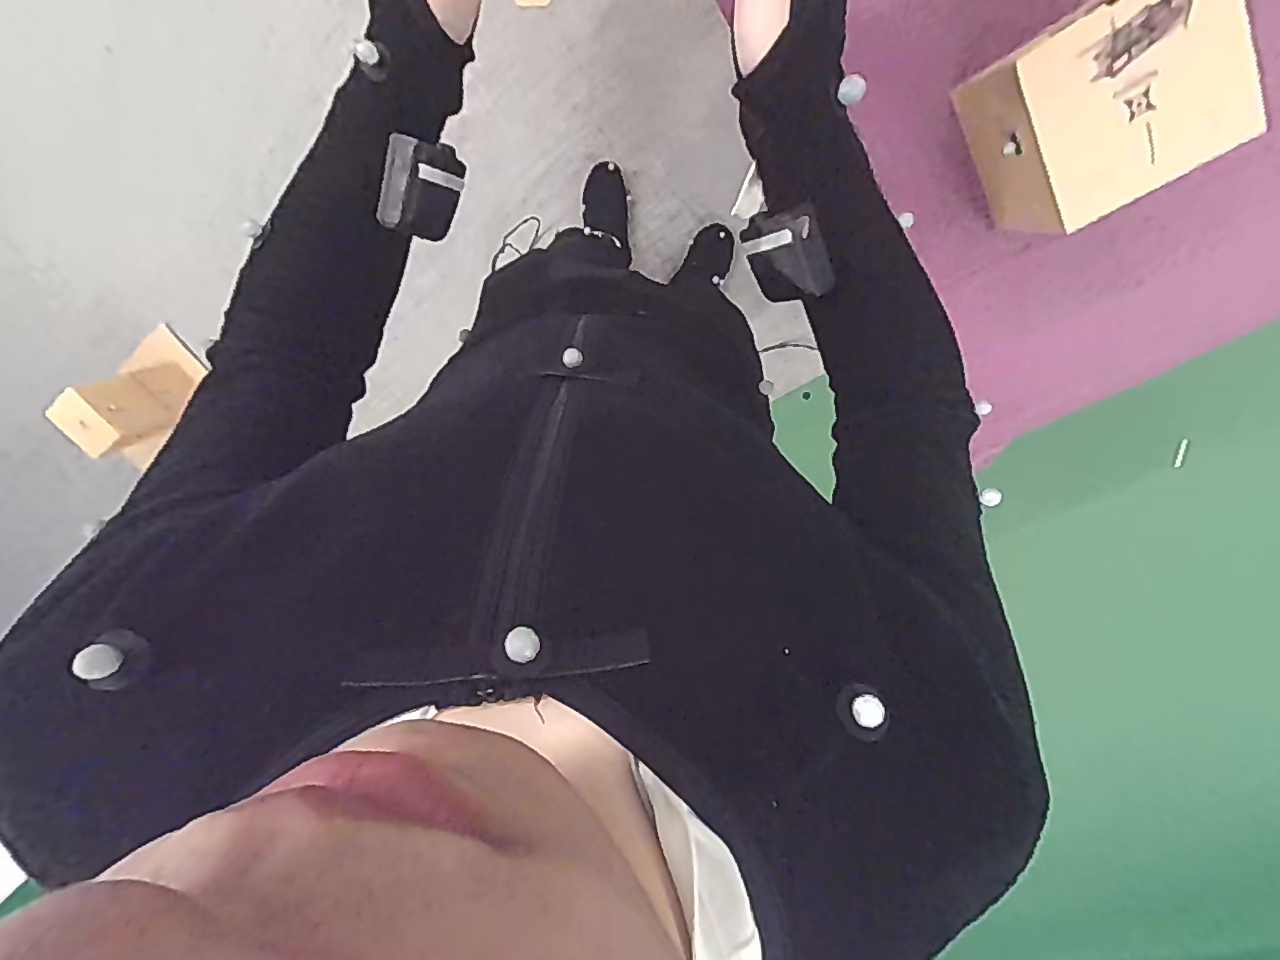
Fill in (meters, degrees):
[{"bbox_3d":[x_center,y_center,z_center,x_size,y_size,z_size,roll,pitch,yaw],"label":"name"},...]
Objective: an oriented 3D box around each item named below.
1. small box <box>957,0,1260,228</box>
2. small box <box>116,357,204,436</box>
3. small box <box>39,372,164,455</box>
[{"bbox_3d":[0.468,-0.390,0.568,0.168,0.176,0.179,-26,110,21],"label":"small box"},{"bbox_3d":[-1.613,-0.279,1.791,0.168,0.176,0.179,-27,110,21],"label":"small box"},{"bbox_3d":[-1.631,-0.210,1.647,0.168,0.176,0.179,-28,110,20],"label":"small box"}]
